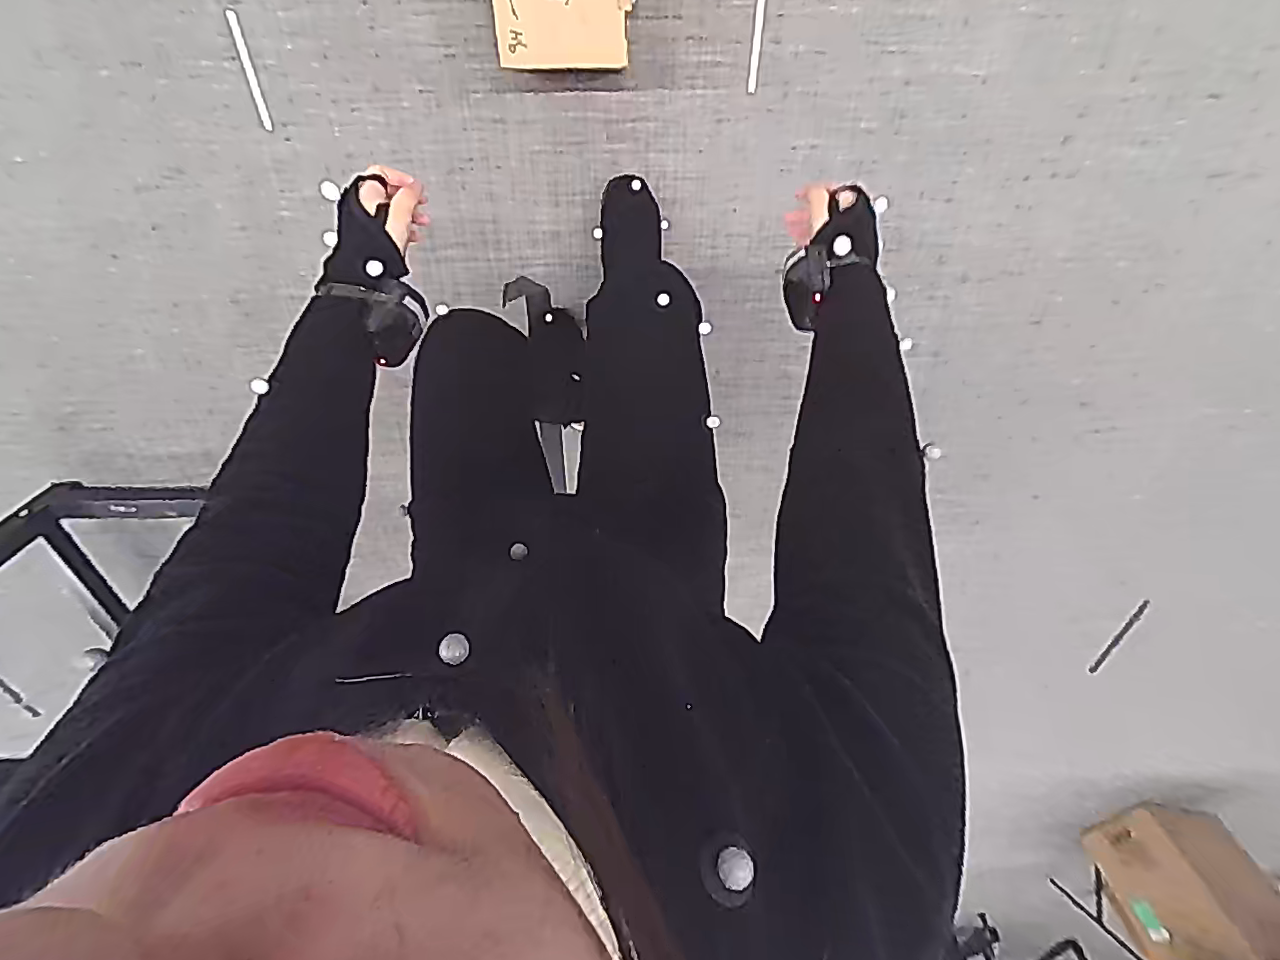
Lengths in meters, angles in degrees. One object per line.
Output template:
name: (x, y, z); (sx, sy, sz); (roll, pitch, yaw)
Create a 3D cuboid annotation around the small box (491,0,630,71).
small box: (-0.106, -0.665, 0.738); (0.179, 0.176, 0.168); (-2, 127, -3)
